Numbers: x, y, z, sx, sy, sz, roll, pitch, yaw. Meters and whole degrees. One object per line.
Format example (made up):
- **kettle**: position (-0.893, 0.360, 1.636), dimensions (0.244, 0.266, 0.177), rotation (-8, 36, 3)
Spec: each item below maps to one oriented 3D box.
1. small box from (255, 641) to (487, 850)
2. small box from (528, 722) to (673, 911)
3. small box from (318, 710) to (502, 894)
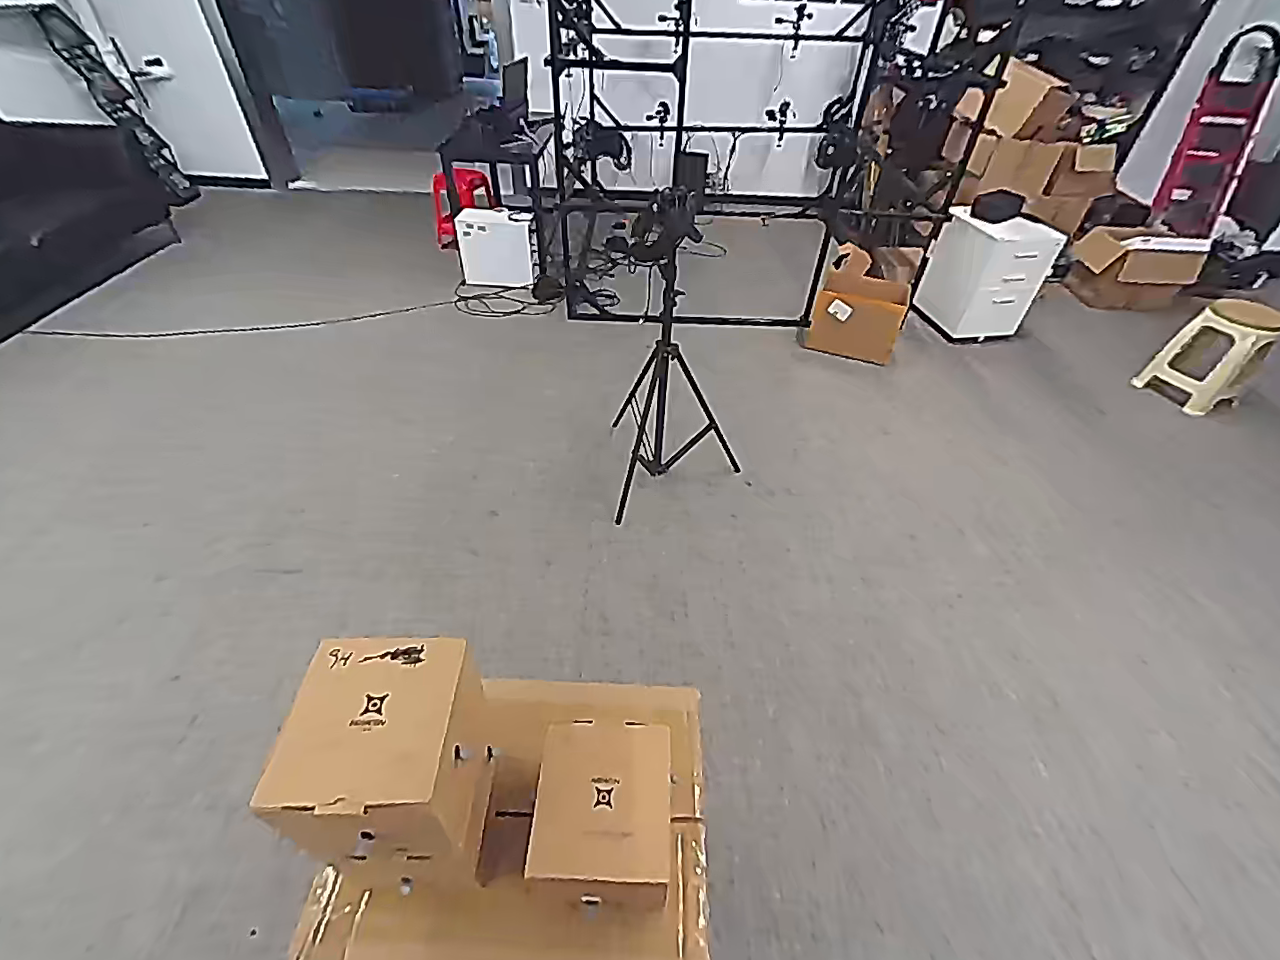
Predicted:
- **small box**: position (-0.279, 0.303, 0.614), dimensions (0.168, 0.176, 0.179), rotation (1, 43, -3)
- **small box**: position (-0.042, 0.445, 0.716), dimensions (0.168, 0.176, 0.179), rotation (0, 44, 1)
- **small box**: position (-0.286, 0.426, 0.723), dimensions (0.168, 0.176, 0.179), rotation (2, 43, -2)
